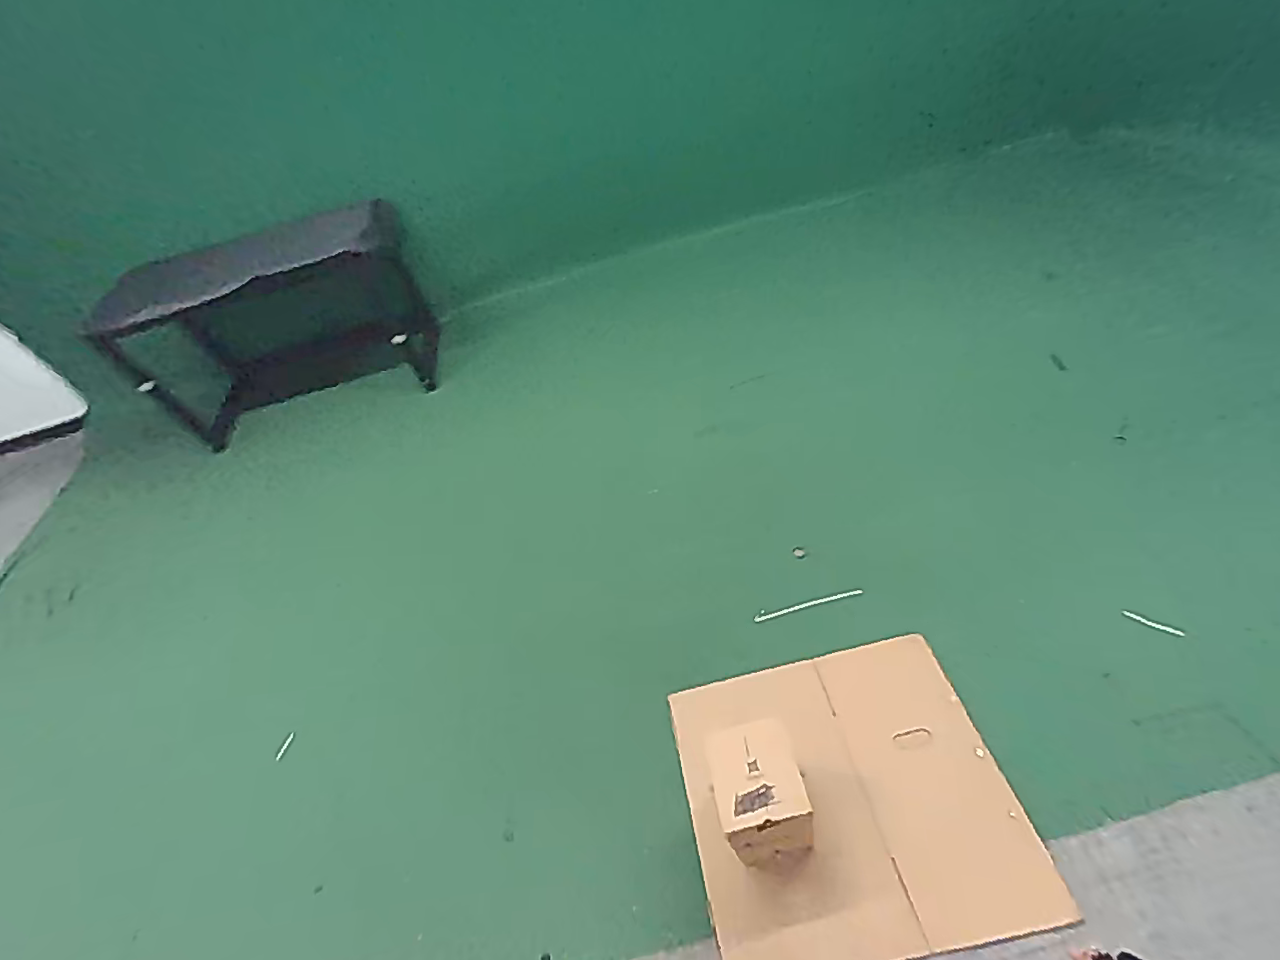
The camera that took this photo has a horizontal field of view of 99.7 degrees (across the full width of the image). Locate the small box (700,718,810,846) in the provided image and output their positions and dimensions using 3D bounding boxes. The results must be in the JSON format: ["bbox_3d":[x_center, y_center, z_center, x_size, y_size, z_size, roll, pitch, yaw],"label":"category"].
[{"bbox_3d":[0.228,0.601,1.066,0.168,0.176,0.179,-15,45,3],"label":"small box"}]

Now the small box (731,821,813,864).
[{"bbox_3d":[0.266,0.709,1.183,0.168,0.176,0.179,-17,46,2],"label":"small box"}]
